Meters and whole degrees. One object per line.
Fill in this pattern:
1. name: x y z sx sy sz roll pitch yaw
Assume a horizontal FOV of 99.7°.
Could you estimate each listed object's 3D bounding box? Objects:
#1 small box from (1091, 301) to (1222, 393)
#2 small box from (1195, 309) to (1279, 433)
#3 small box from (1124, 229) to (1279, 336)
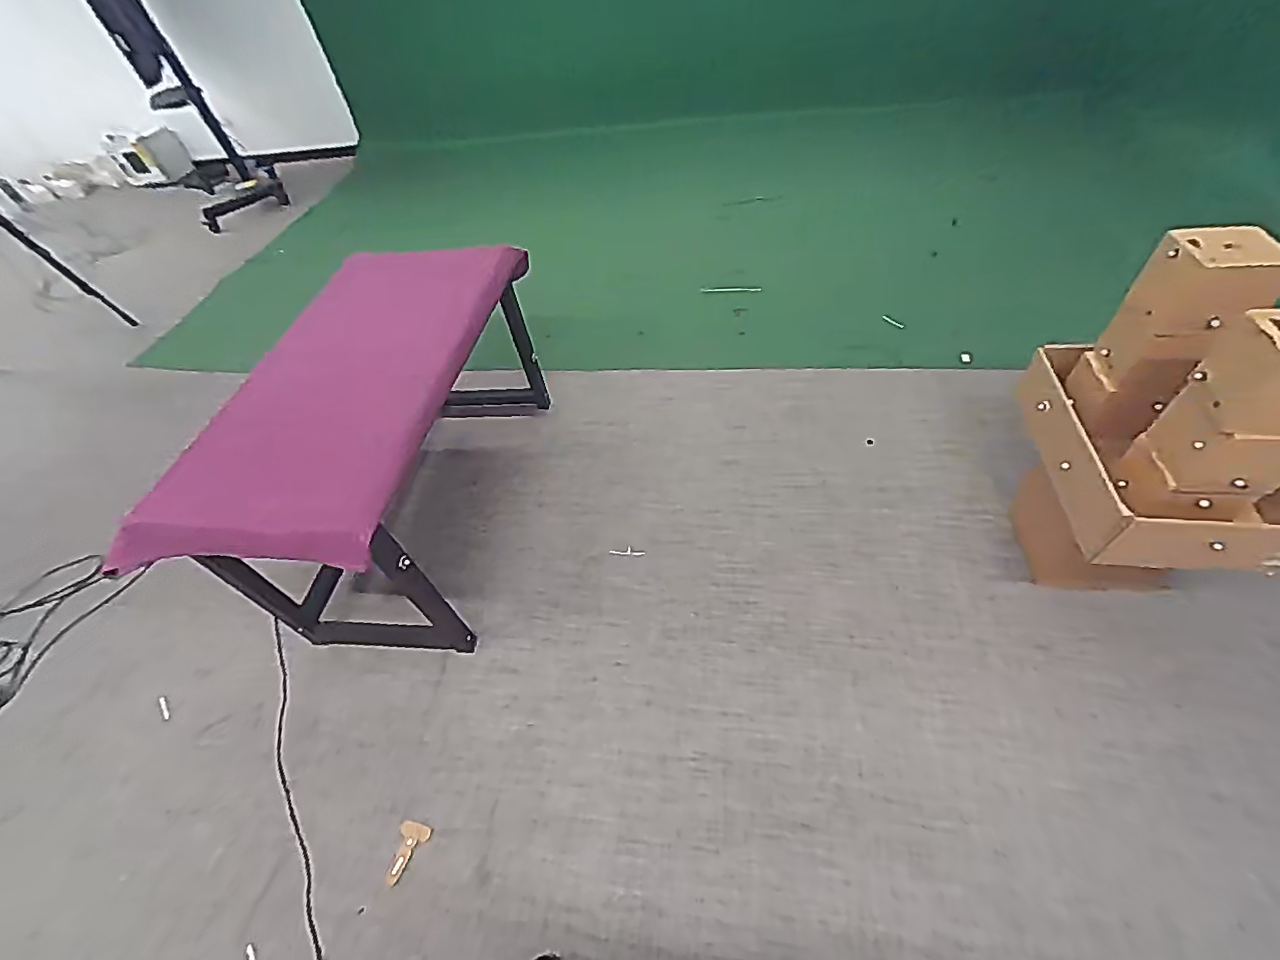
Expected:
1. small box: 1.270 -0.330 1.326 0.179 0.176 0.168 5 50 12
2. small box: 1.204 -0.198 1.008 0.179 0.176 0.168 4 52 12
3. small box: 1.250 -0.435 1.202 0.179 0.176 0.168 3 50 9
